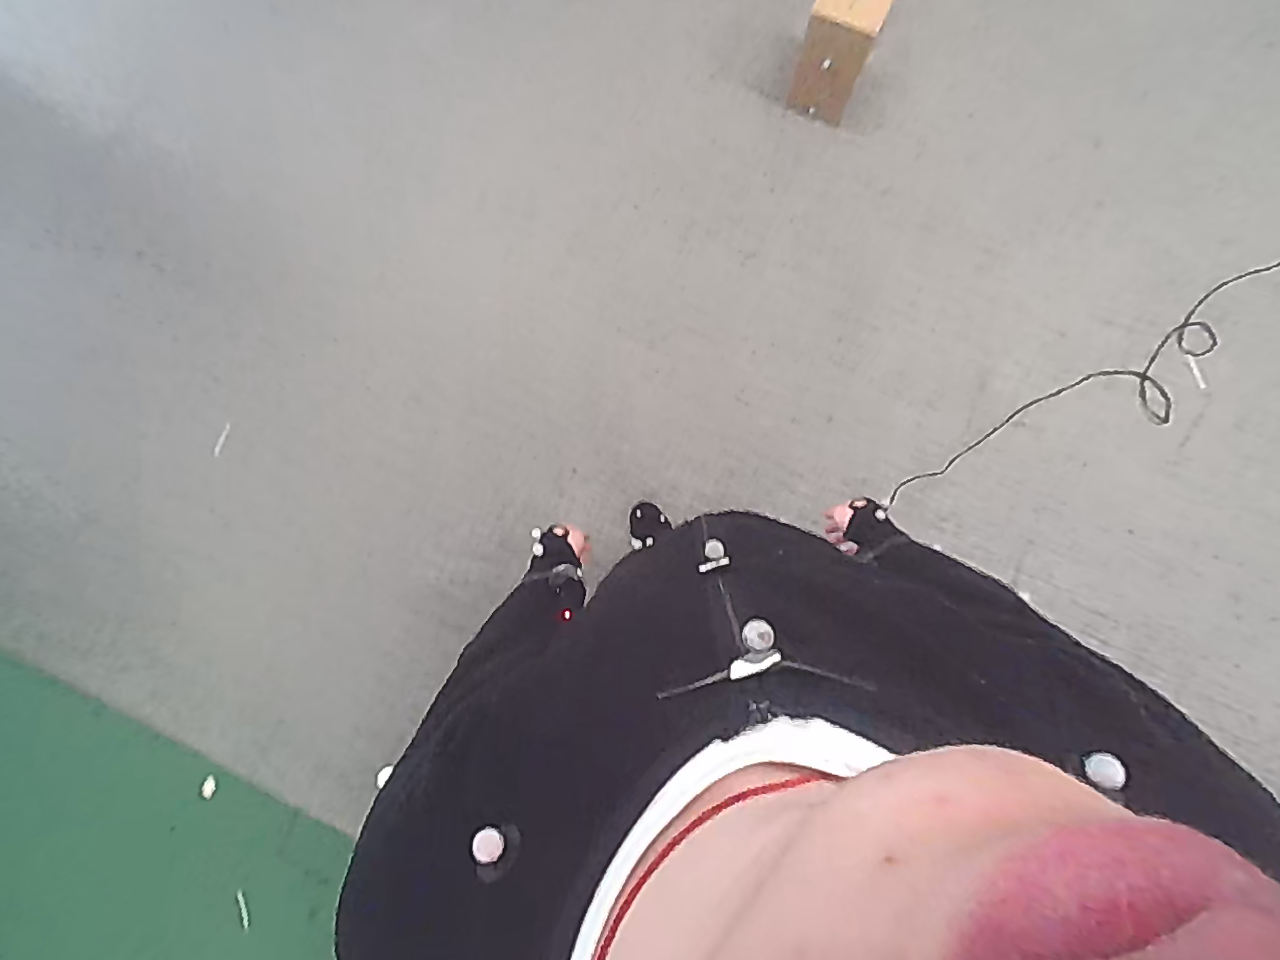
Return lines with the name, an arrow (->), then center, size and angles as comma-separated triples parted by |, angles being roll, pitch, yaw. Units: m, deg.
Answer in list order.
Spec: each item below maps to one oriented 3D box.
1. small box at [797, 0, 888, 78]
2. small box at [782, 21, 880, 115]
small box -> 0.502, -1.145, 1.316 | 0.168, 0.176, 0.179 | 25, 91, 4
small box -> 0.514, -1.149, 1.481 | 0.179, 0.176, 0.168 | 26, 90, 3
